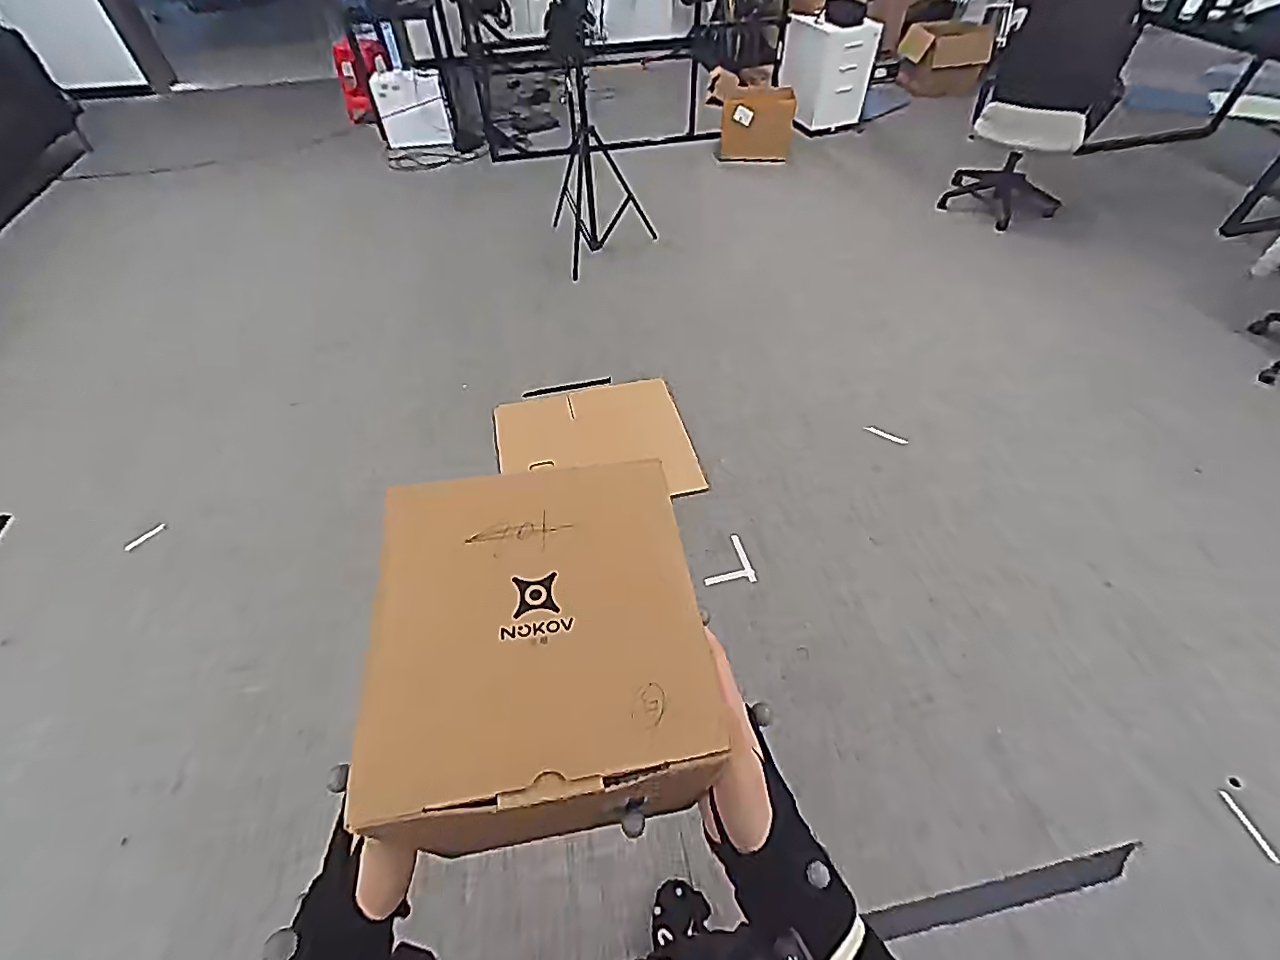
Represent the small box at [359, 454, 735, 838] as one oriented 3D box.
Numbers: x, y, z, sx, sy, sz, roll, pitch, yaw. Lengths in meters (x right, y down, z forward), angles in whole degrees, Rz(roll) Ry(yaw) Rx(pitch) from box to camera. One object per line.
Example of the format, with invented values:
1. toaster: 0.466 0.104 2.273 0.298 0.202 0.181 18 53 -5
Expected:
1. small box: -0.054 0.109 0.343 0.168 0.176 0.179 -7 52 -9
